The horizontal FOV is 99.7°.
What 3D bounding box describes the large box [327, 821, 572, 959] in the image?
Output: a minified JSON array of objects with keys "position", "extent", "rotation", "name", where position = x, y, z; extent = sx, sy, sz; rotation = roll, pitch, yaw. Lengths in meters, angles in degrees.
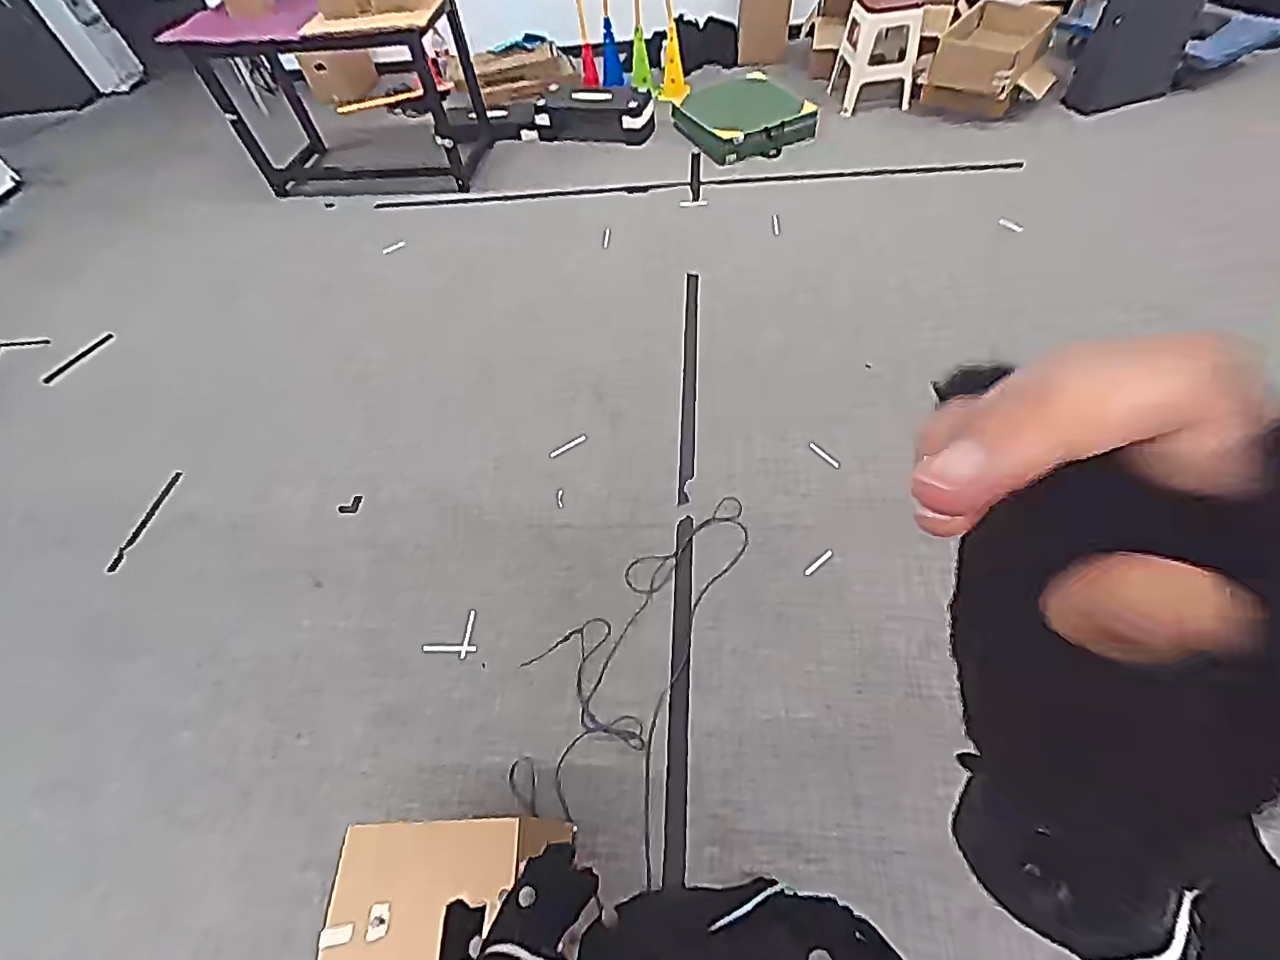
[{"position":[-0.327,0.833,1.012],"extent":[0.320,0.408,0.320],"rotation":[-4,56,5],"name":"large box"}]
